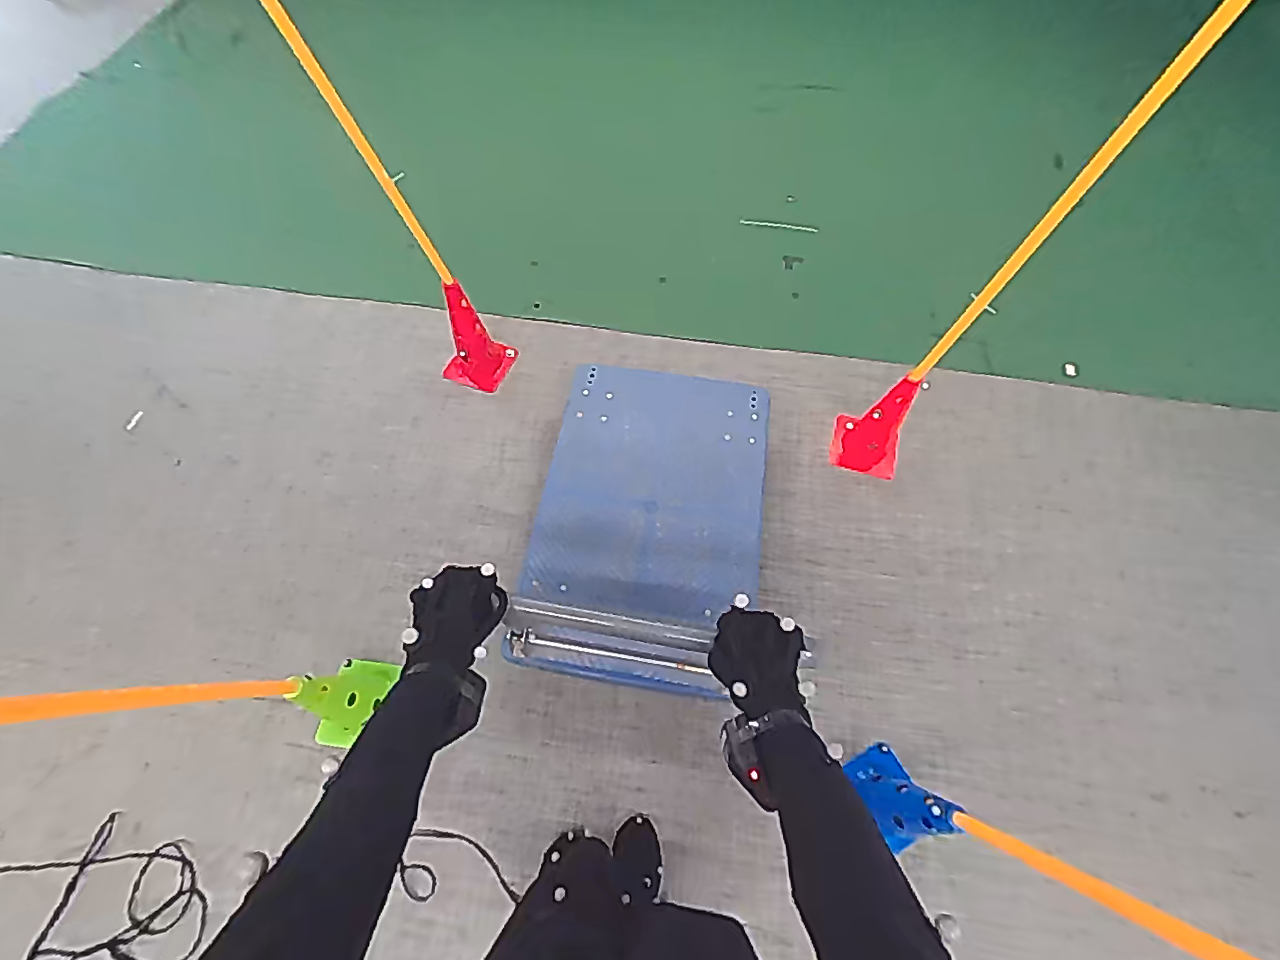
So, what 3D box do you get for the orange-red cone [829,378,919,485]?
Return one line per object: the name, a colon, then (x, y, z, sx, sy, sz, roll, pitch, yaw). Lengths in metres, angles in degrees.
orange-red cone: (0.706, -0.166, 1.550, 0.198, 0.360, 0.199, 17, 64, 9)
